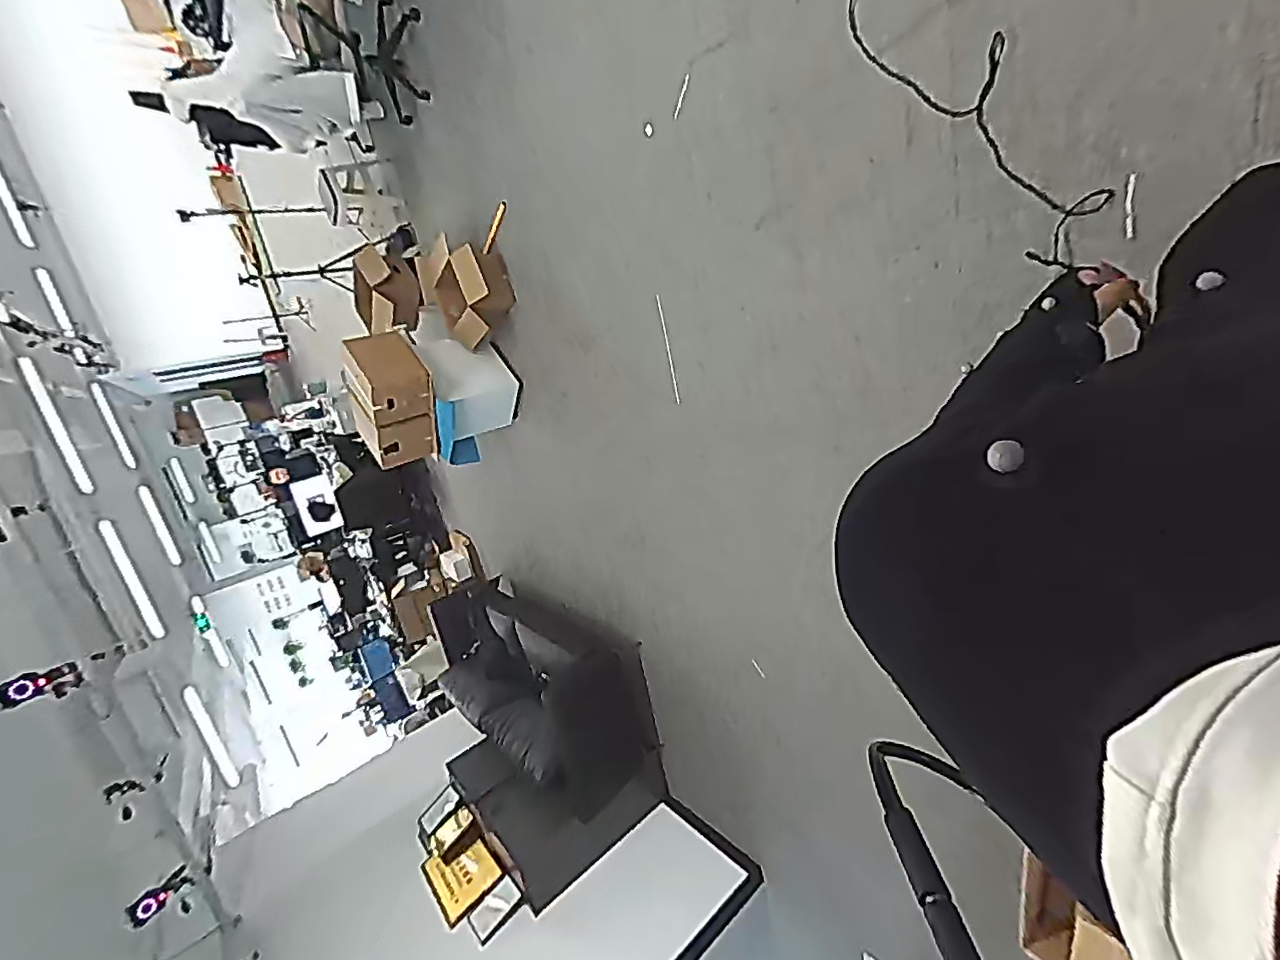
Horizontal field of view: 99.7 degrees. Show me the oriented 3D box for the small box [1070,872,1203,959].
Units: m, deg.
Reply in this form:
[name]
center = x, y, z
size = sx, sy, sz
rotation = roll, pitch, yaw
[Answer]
[small box]
center = 1.036, 0.986, 1.133
size = 0.179, 0.176, 0.168
rotation = 15, 119, 49
